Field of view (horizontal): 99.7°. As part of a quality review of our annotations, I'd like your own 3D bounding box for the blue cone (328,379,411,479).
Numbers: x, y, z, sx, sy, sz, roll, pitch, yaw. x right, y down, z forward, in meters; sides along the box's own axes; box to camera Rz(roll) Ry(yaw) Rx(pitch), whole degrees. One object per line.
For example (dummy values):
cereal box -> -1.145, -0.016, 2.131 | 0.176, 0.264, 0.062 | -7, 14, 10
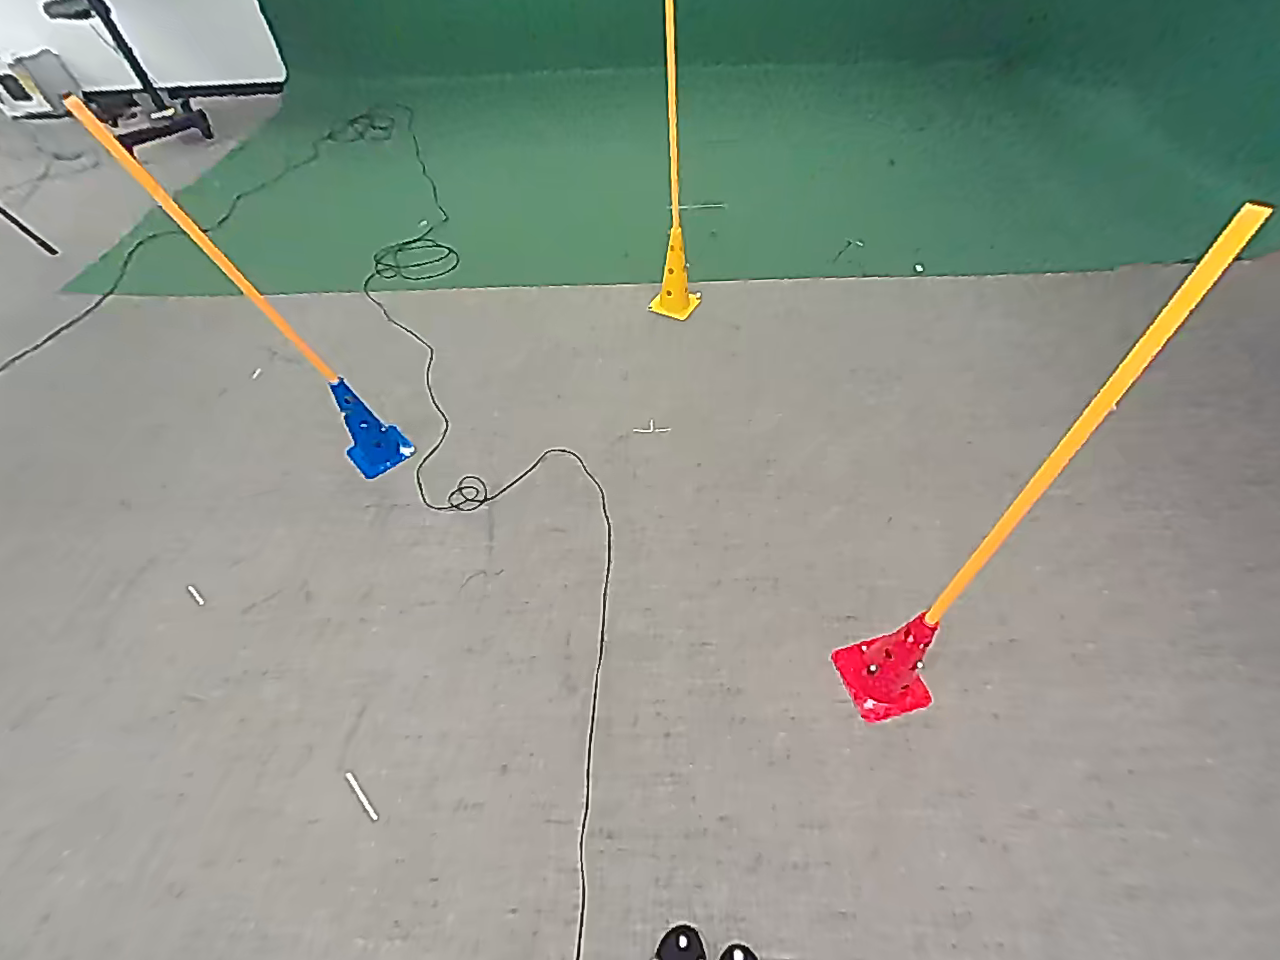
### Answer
blue cone -> -0.970, -0.195, 1.876 | 0.193, 0.380, 0.192 | -40, 60, -23
